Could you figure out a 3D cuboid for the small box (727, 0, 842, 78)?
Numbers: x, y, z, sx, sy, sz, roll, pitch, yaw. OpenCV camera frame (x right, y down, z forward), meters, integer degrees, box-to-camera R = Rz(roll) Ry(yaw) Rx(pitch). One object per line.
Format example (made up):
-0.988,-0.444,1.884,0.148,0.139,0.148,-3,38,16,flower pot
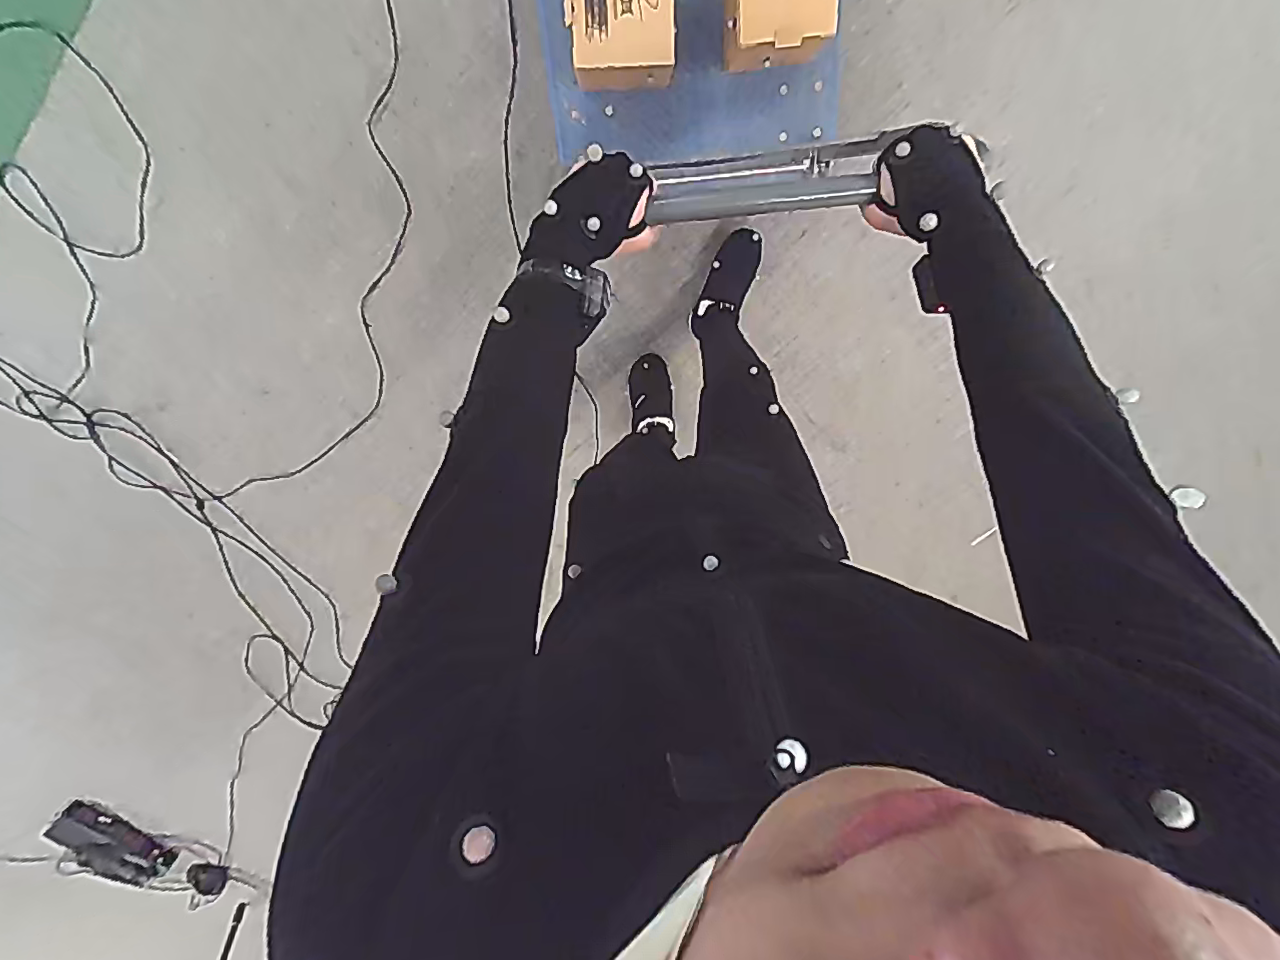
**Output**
0.249,-0.844,0.956,0.168,0.176,0.179,-6,115,2,small box
